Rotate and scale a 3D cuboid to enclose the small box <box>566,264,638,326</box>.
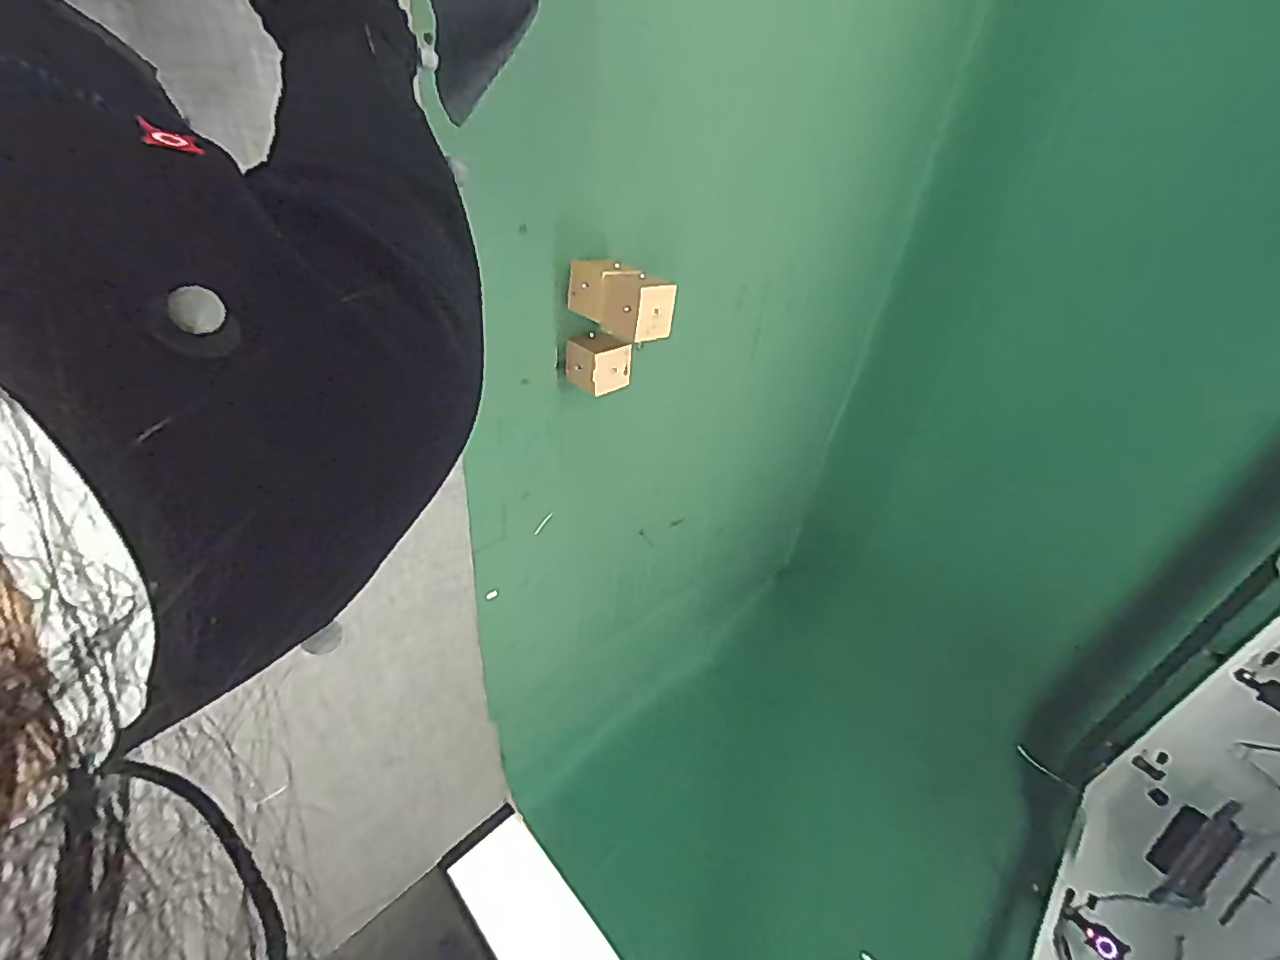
[{"bbox_3d":[-0.135,-0.637,1.854,0.179,0.176,0.168,-21,132,-42],"label":"small box"}]

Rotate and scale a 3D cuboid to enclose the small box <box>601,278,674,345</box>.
[{"bbox_3d":[-0.013,-0.559,1.773,0.168,0.176,0.179,-22,132,-41],"label":"small box"}]
